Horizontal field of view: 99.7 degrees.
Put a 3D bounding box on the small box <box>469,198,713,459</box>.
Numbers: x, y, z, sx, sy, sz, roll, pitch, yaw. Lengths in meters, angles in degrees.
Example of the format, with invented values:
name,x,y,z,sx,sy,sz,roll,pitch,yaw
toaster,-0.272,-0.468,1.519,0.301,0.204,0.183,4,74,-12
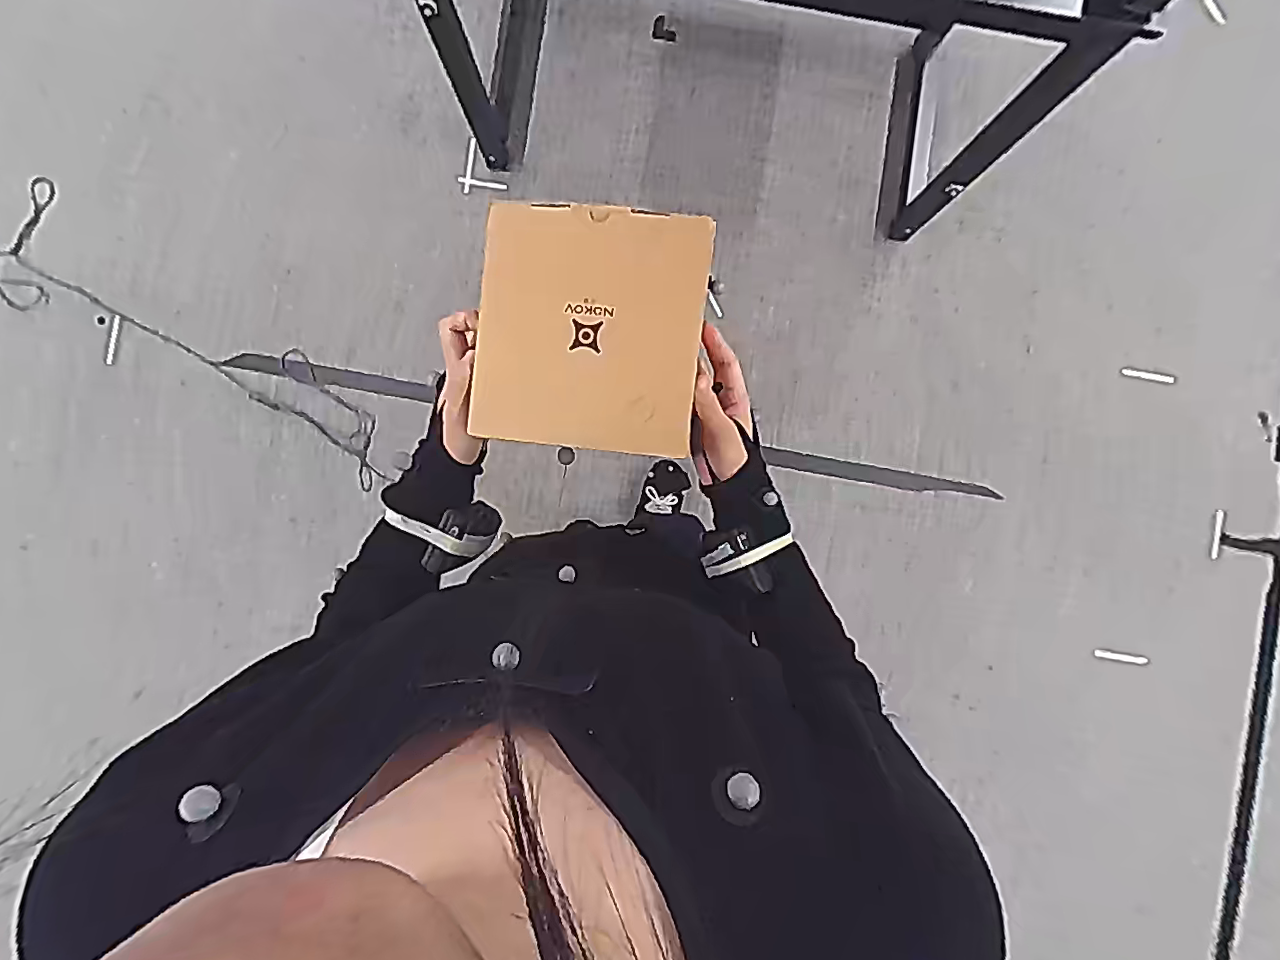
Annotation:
name,x,y,z,sx,sy,sz,roll,pitch,yaw
small box,-0.031,-0.113,0.470,0.168,0.176,0.179,6,91,4
